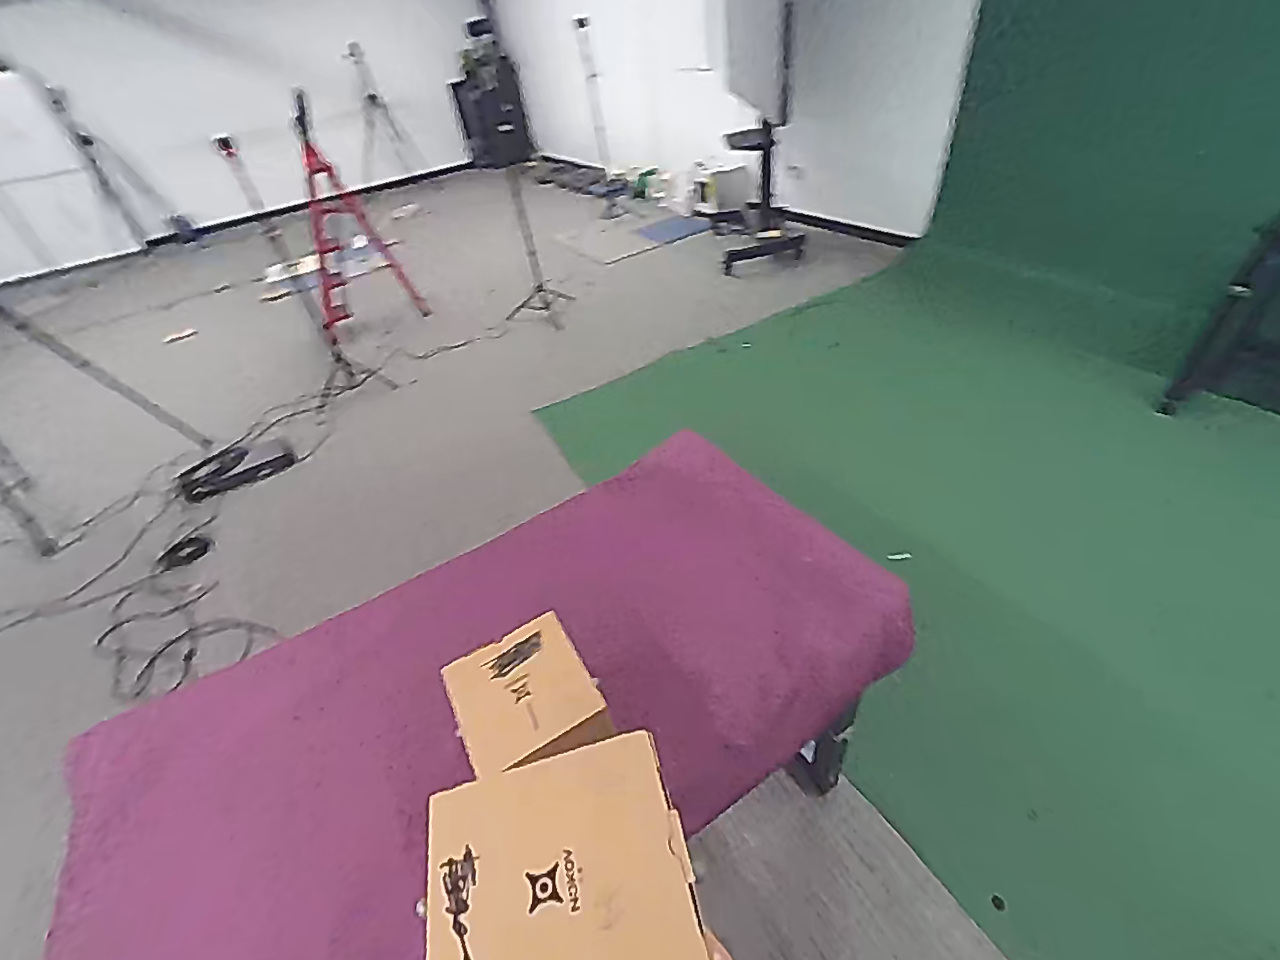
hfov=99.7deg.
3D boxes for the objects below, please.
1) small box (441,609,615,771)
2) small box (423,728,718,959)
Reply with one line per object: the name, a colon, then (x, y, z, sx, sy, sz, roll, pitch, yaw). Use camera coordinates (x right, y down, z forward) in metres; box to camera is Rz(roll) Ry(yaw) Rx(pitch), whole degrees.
small box: (-0.145, 0.318, 0.735, 0.168, 0.176, 0.179, -26, 43, -18)
small box: (-0.048, 0.321, 0.409, 0.179, 0.176, 0.168, -12, 43, -7)
